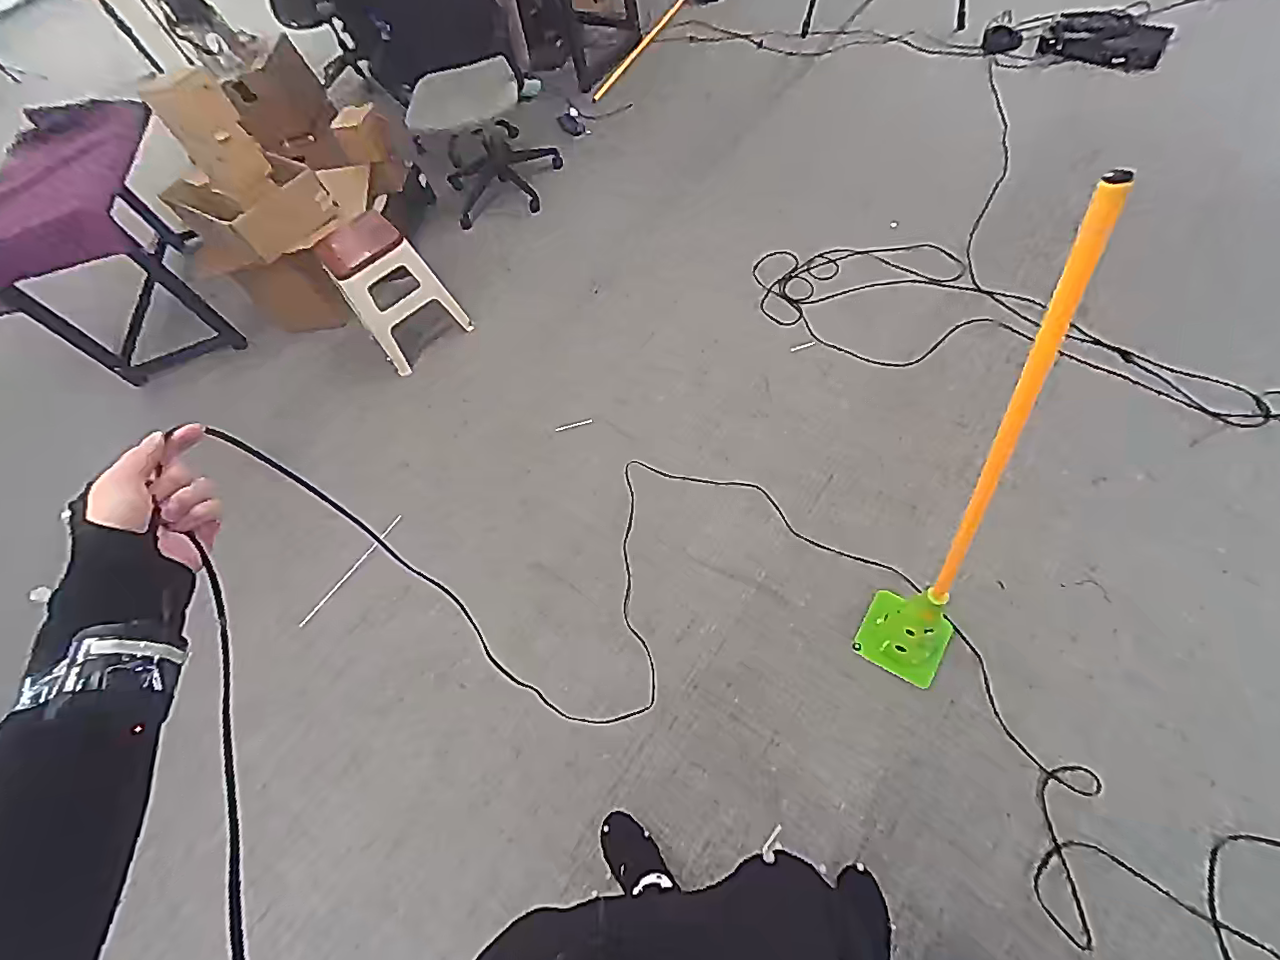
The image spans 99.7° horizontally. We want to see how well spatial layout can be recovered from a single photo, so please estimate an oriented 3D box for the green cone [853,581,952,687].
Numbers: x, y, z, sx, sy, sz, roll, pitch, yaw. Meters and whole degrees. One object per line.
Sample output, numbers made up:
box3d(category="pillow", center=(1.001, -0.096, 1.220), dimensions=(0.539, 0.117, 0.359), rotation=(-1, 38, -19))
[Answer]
box3d(category="green cone", center=(0.655, 0.324, 1.270), dimensions=(0.200, 0.368, 0.202), rotation=(26, 68, 24))
